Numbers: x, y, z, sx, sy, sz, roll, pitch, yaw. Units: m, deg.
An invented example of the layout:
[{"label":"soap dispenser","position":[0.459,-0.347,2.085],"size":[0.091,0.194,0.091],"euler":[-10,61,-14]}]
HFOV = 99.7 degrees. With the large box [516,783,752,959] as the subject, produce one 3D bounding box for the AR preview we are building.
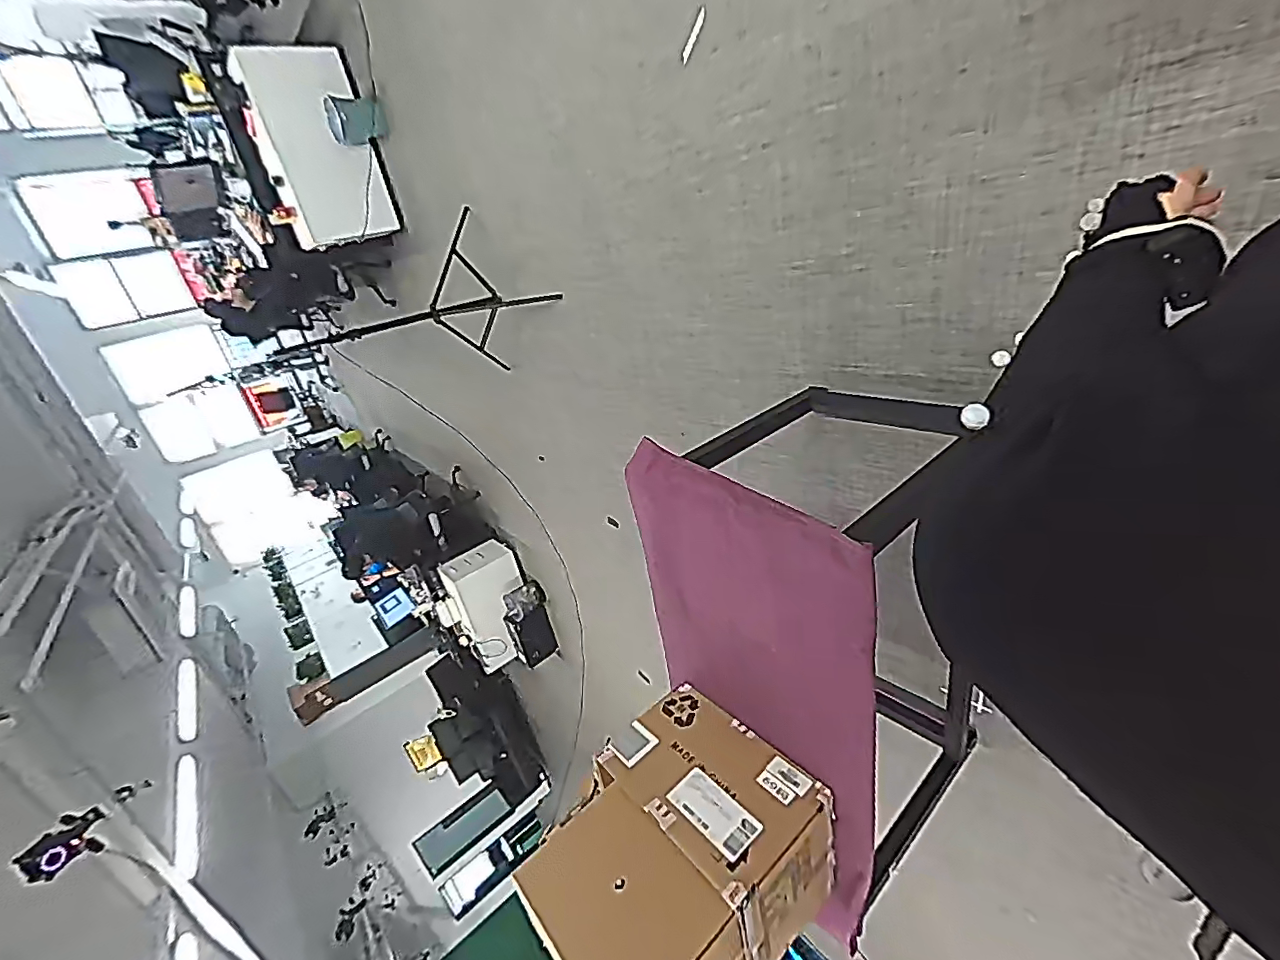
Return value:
[{"label":"large box","position":[-0.012,0.985,1.193],"size":[0.408,0.320,0.320],"euler":[19,130,48]}]
